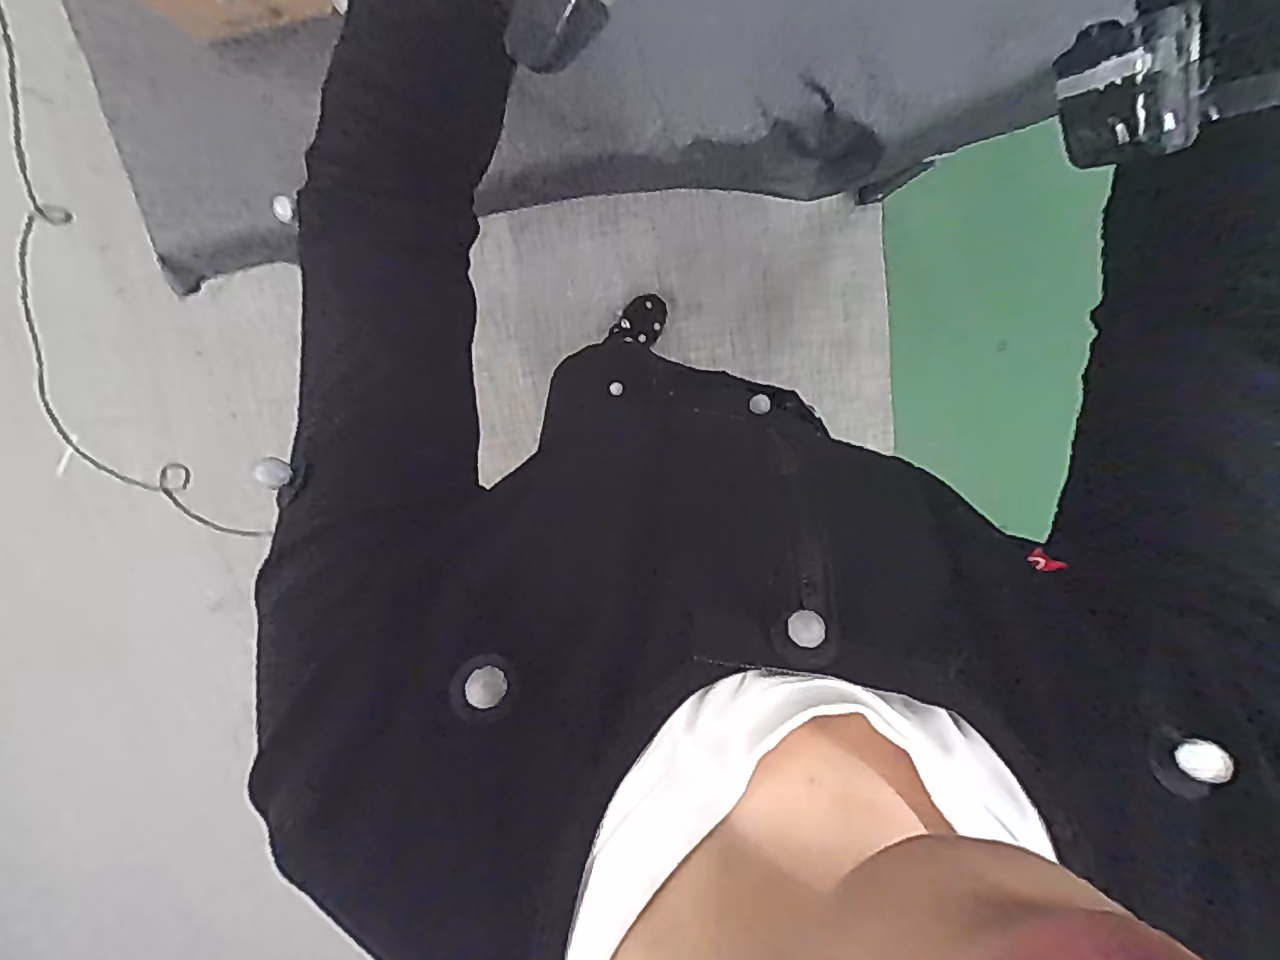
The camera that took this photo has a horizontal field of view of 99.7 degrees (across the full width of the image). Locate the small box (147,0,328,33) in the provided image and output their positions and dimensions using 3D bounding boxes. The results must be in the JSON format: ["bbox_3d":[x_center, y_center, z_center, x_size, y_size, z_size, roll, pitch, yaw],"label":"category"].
[{"bbox_3d":[-0.445,-0.582,0.527,0.168,0.176,0.179,-11,103,3],"label":"small box"}]
